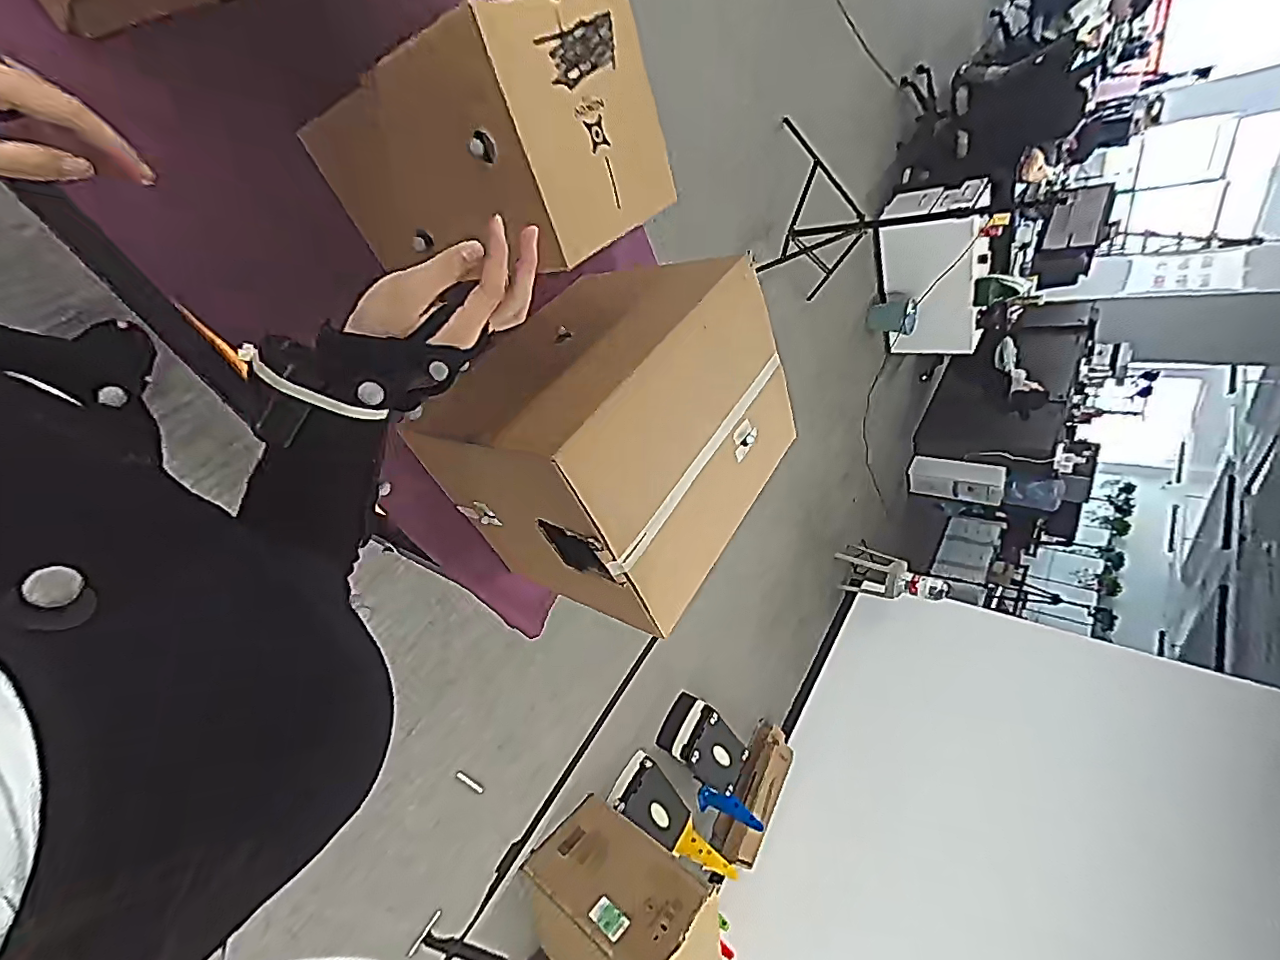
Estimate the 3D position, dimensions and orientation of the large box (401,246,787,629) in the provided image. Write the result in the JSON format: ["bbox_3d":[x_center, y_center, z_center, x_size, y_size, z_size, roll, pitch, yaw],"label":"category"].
[{"bbox_3d":[-0.037,-0.074,0.773,0.408,0.320,0.320,-53,135,-30],"label":"large box"}]
